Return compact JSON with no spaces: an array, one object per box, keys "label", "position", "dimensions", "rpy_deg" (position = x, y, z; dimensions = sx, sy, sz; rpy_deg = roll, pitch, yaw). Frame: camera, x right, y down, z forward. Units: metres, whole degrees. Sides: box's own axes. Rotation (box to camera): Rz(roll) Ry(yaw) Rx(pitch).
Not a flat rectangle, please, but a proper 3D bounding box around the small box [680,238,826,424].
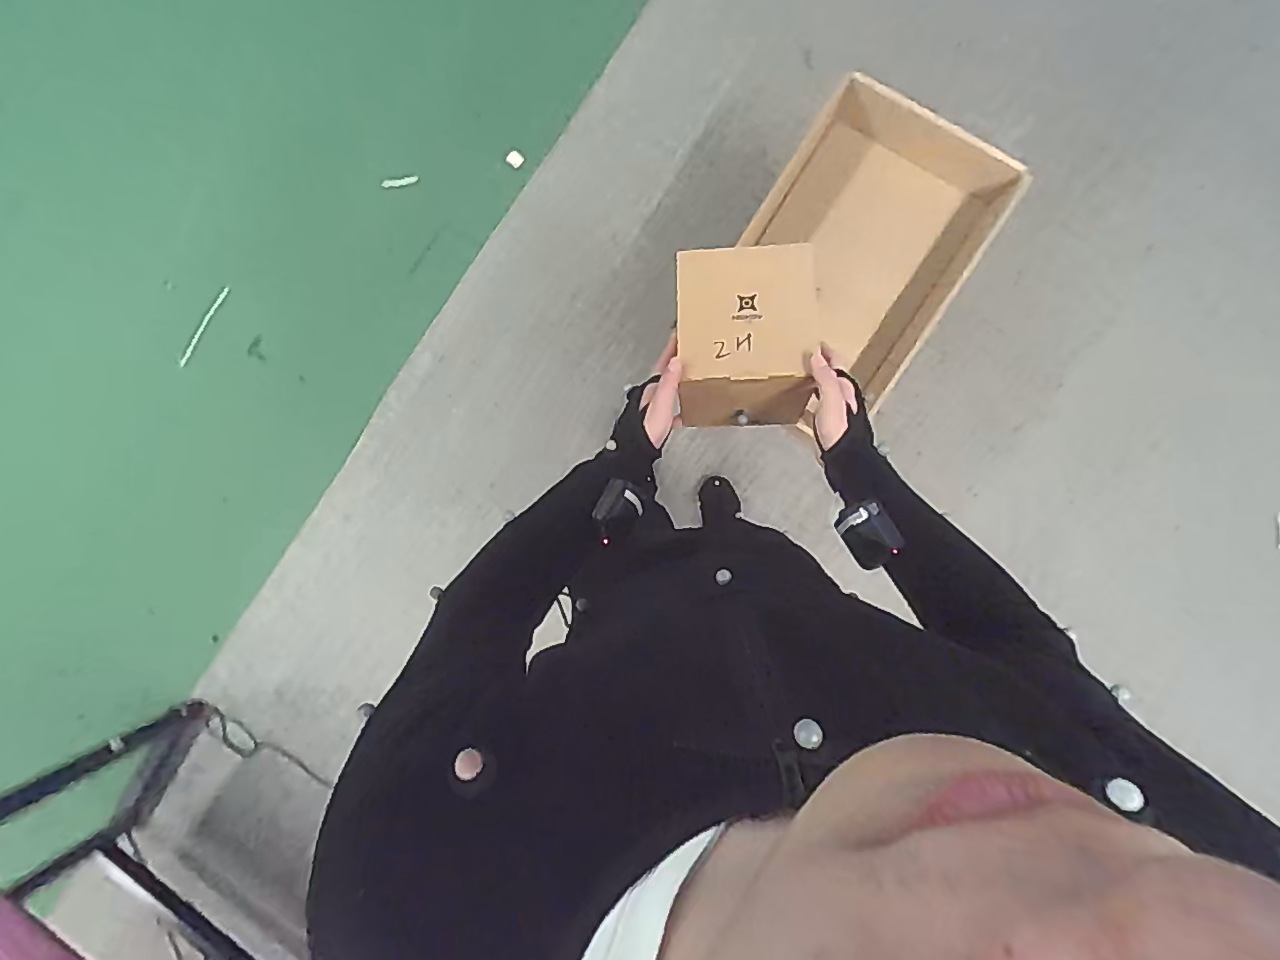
[{"label":"small box","position":[0.136,-0.185,0.710],"dimensions":[0.168,0.176,0.179],"rpy_deg":[-2,77,6]}]
